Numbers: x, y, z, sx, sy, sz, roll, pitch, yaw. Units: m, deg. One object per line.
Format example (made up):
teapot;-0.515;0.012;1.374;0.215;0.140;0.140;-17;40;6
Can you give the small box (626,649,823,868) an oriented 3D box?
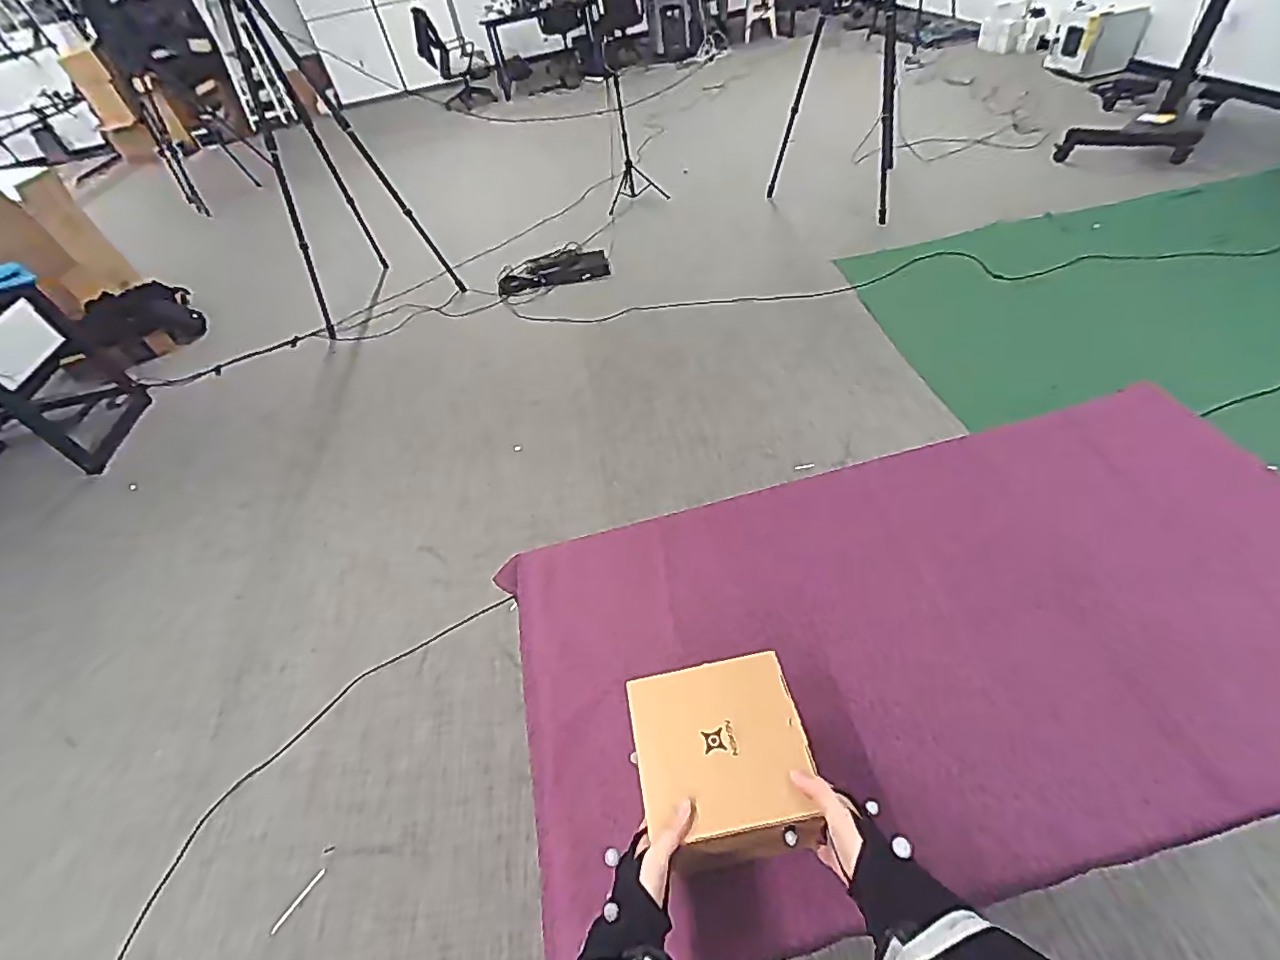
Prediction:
small box;0.093;0.324;0.624;0.179;0.176;0.168;-13;46;0
